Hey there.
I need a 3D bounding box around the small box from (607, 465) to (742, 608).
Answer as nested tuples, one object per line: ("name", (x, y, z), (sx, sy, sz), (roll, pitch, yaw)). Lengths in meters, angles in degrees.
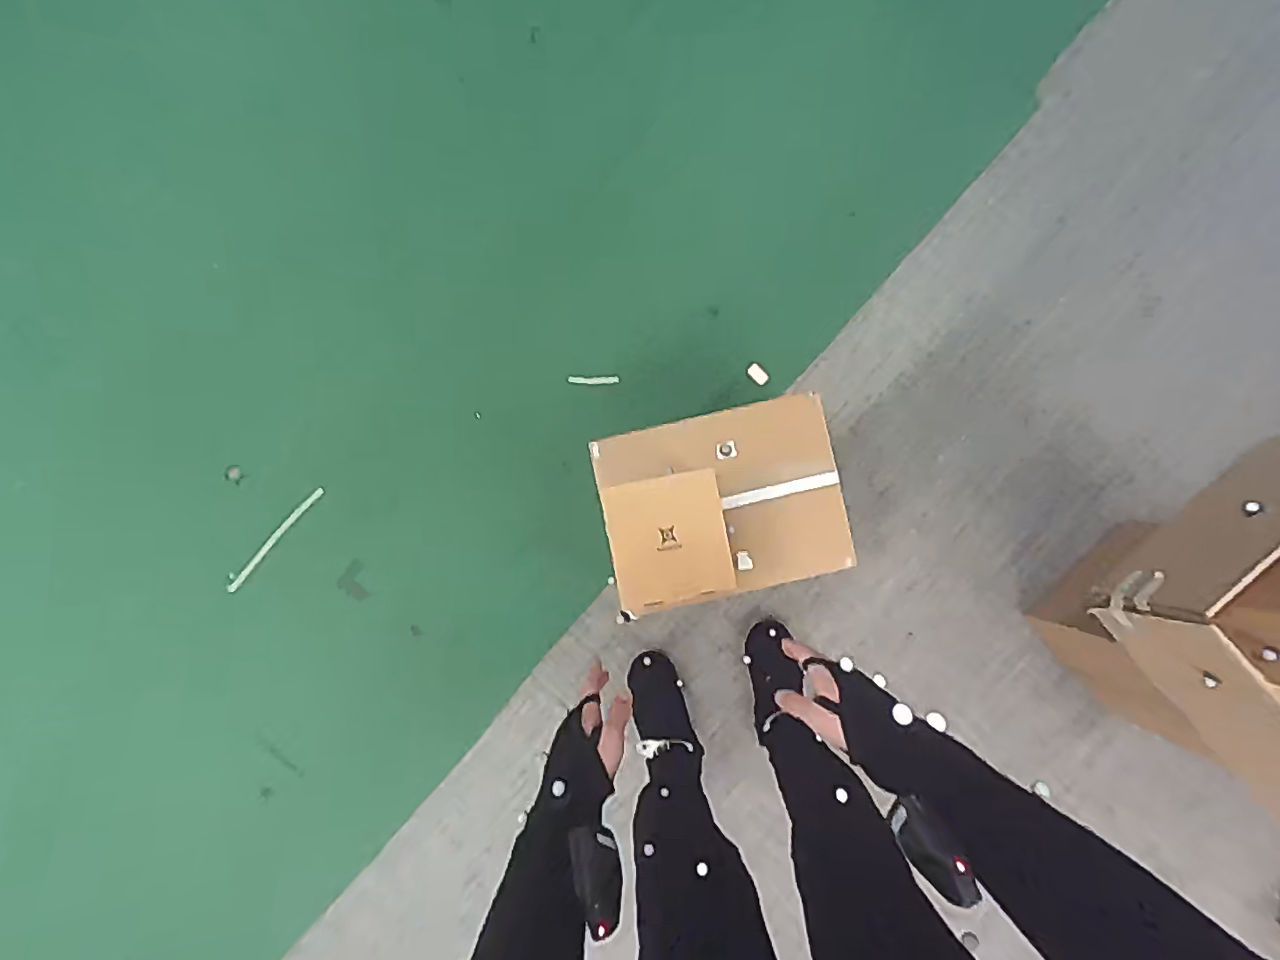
("small box", (0.045, 0.081, 0.828), (0.168, 0.176, 0.179), (-11, 89, 0))
